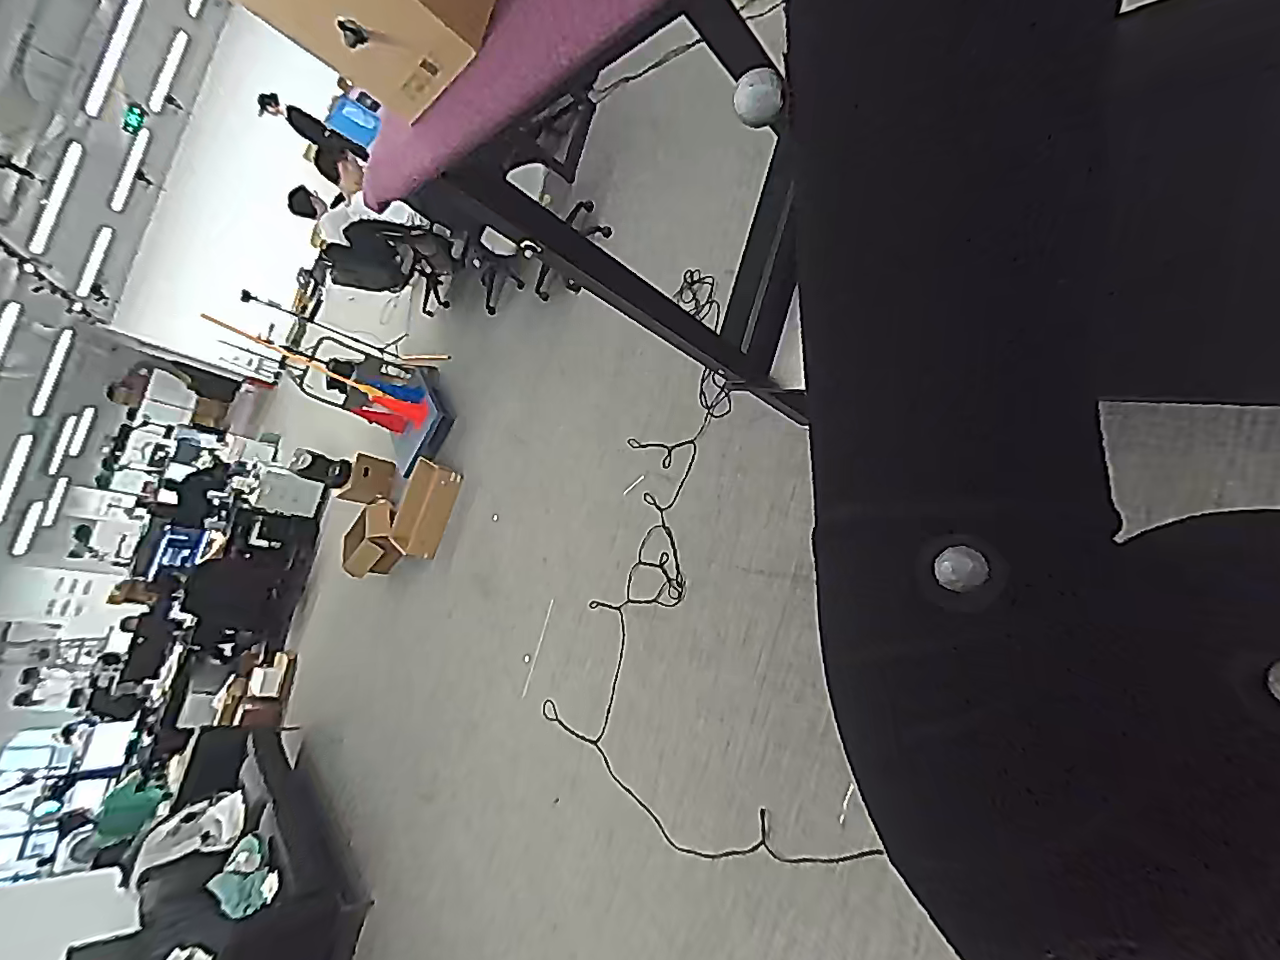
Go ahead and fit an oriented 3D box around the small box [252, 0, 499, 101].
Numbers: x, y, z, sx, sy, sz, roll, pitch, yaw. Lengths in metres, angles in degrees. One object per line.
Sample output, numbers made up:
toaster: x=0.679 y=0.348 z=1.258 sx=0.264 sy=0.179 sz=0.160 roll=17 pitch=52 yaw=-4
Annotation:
small box: x=-0.217 y=-0.478 z=0.471 sx=0.168 sy=0.176 sz=0.179 roll=9 pitch=82 yaw=47
